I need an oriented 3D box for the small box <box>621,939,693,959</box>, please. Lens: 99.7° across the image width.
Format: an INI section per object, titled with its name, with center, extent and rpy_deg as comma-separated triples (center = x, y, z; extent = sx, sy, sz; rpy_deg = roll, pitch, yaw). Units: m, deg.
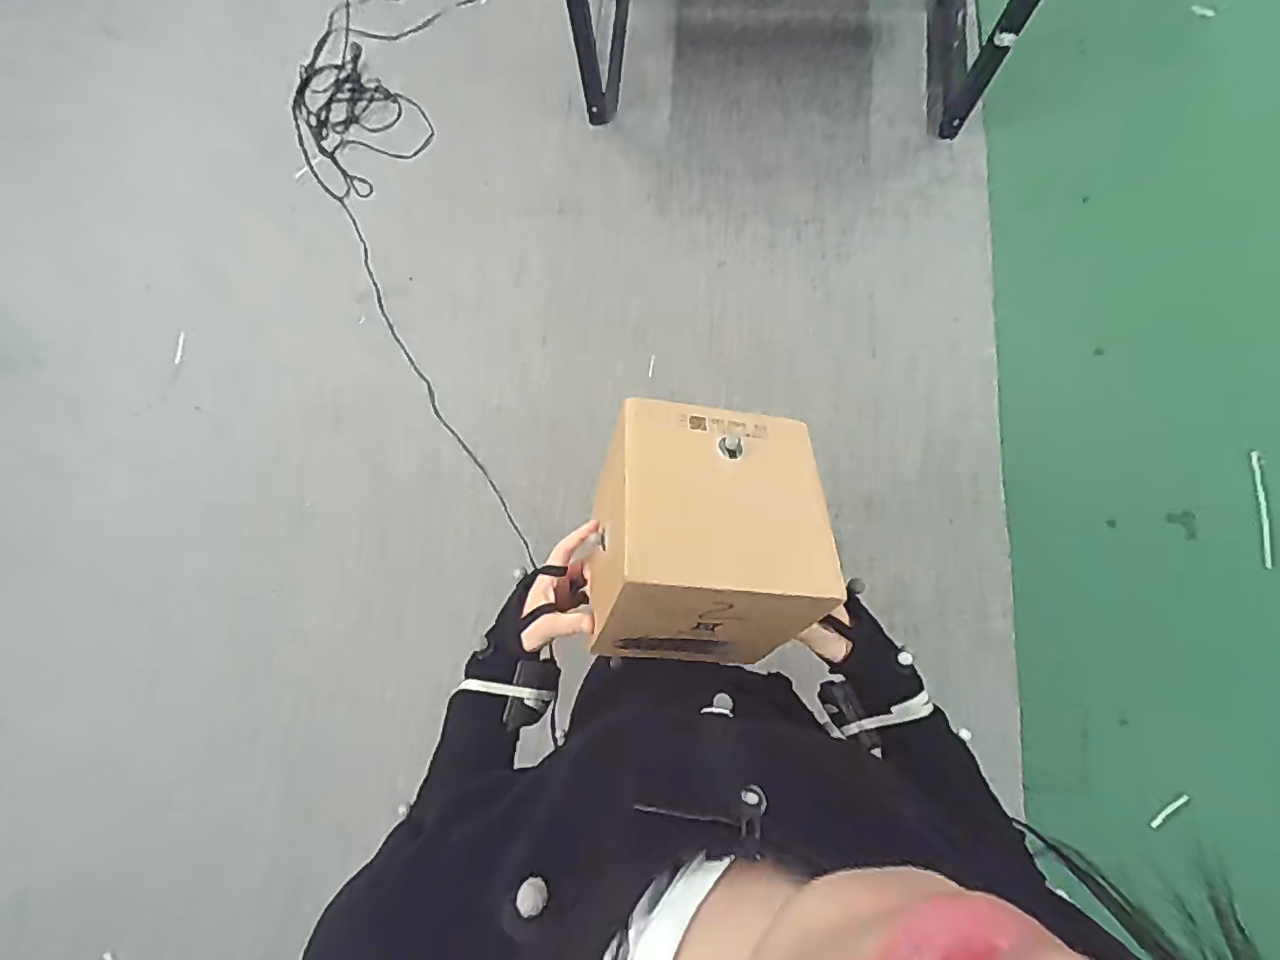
[small box]
center = 0.038, 1.209, 1.254
extent = 0.179, 0.176, 0.168
rpy_deg = 0, 79, 2
